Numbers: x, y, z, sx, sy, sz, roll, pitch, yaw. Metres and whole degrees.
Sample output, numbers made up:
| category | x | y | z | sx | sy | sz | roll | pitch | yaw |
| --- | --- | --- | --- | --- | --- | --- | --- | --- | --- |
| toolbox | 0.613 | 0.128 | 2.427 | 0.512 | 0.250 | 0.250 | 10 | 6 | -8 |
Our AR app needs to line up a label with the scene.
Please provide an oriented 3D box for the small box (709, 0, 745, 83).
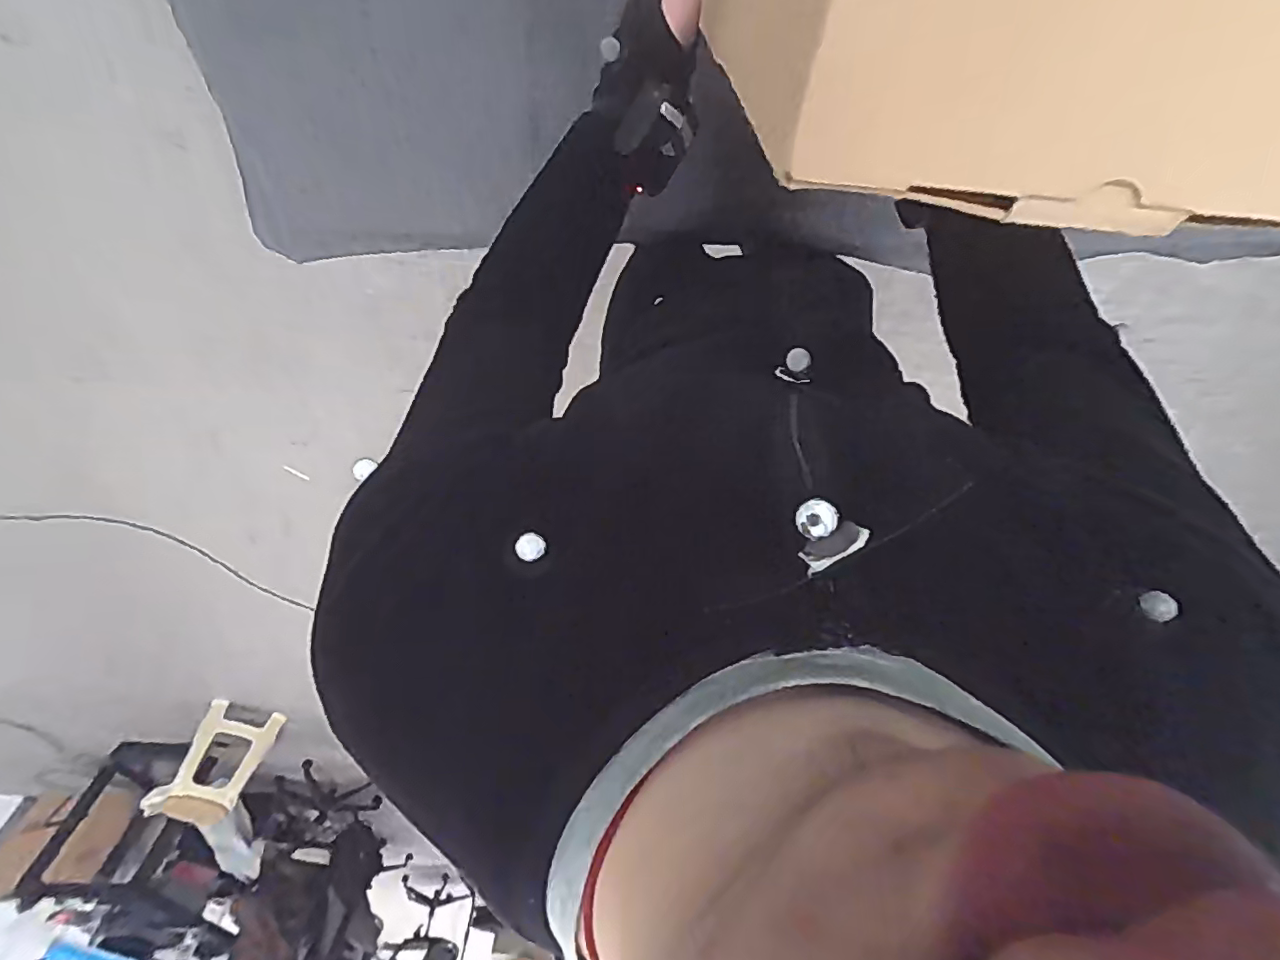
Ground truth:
| category | x | y | z | sx | sy | sz | roll | pitch | yaw |
| --- | --- | --- | --- | --- | --- | --- | --- | --- | --- |
| small box | 0.126 | -0.294 | 0.244 | 0.168 | 0.176 | 0.179 | 3 | 135 | -2 |
